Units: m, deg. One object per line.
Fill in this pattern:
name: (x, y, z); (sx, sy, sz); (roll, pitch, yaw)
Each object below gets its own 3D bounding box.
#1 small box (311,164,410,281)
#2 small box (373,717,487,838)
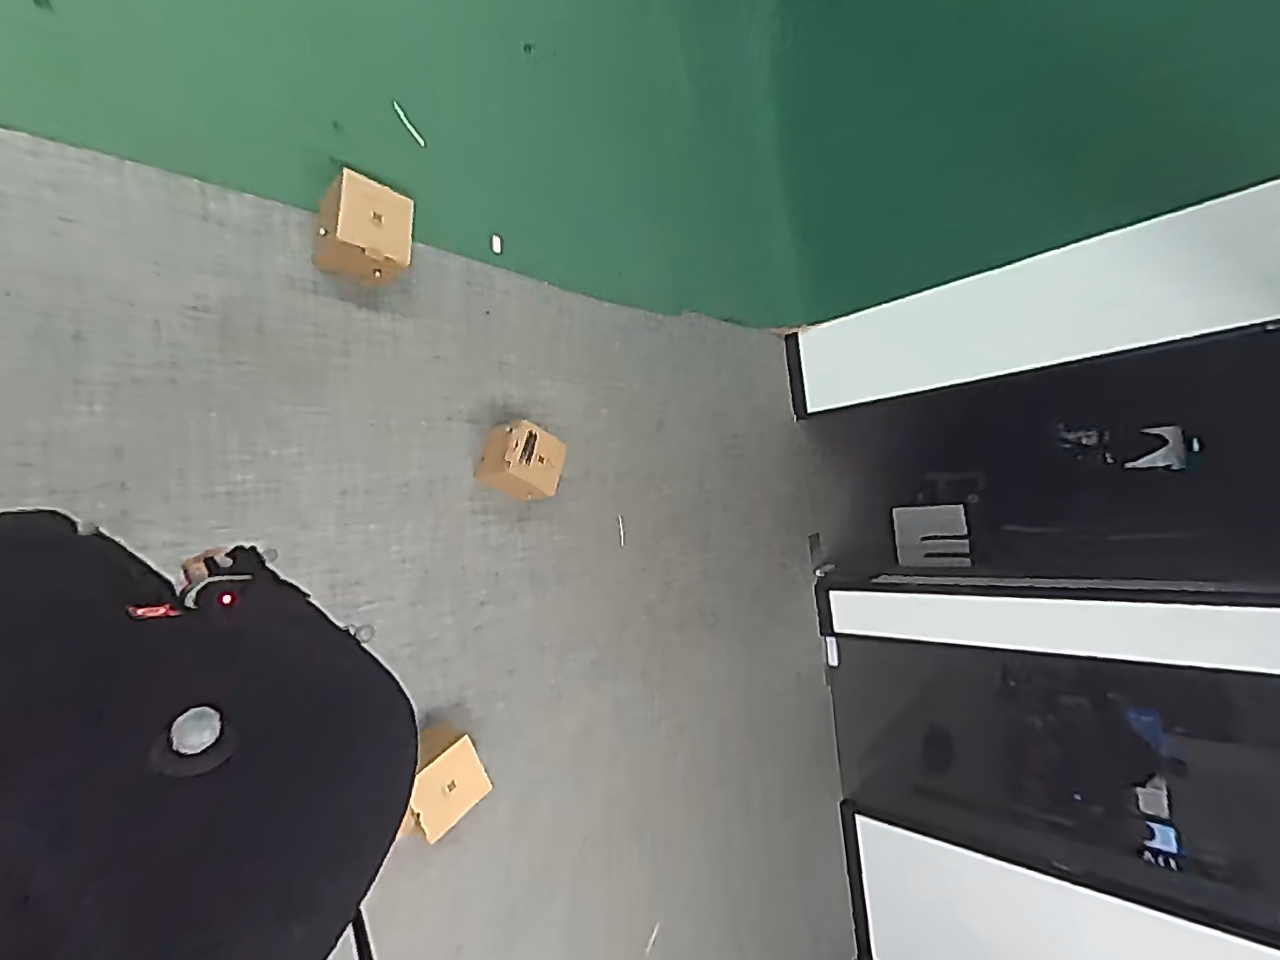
small box: (-0.682, -0.613, 1.318); (0.168, 0.176, 0.179); (8, 78, -47)
small box: (-0.514, 0.714, 1.323); (0.179, 0.176, 0.168); (-32, 108, -43)
